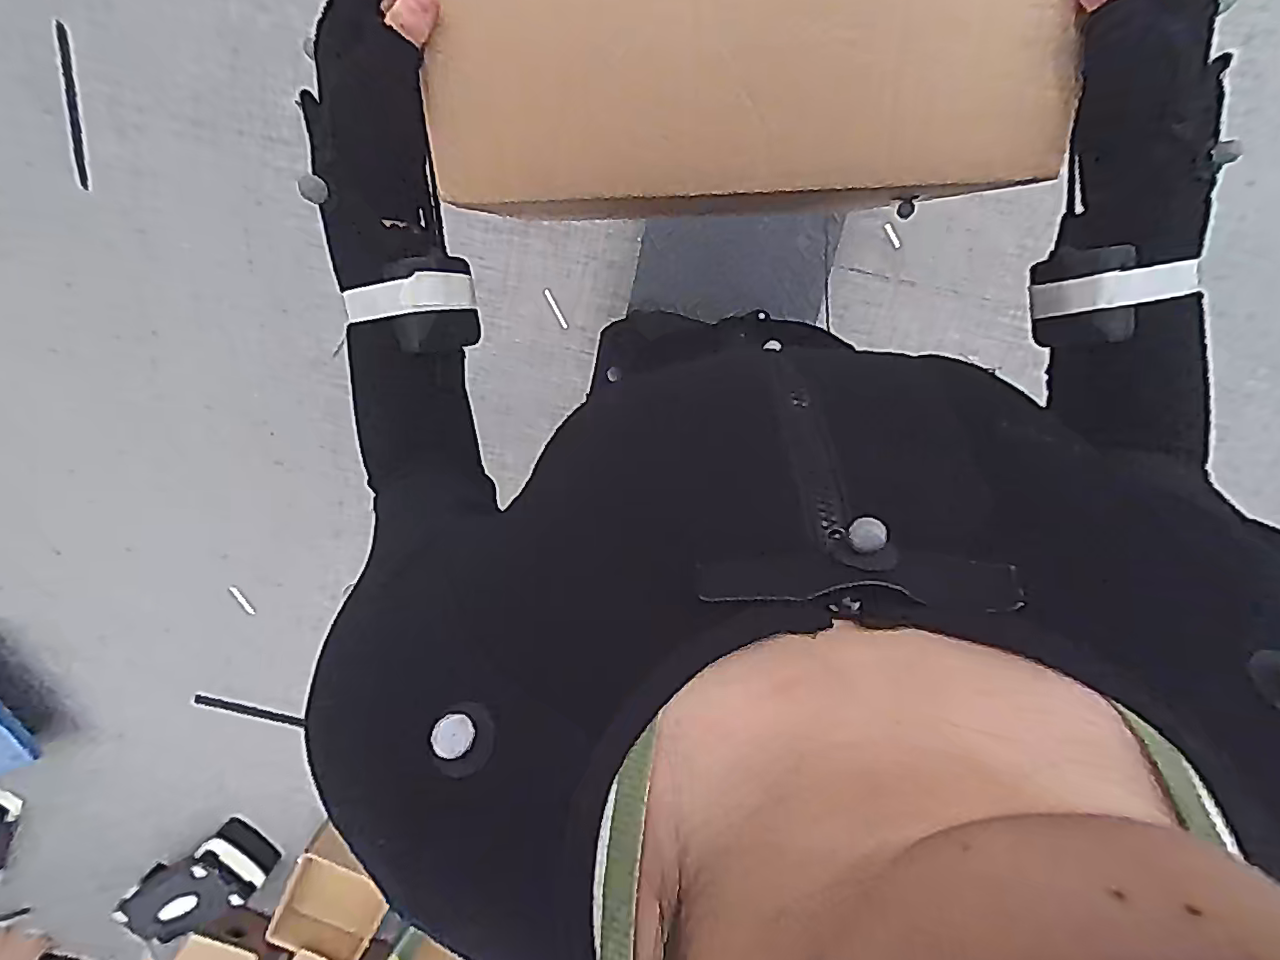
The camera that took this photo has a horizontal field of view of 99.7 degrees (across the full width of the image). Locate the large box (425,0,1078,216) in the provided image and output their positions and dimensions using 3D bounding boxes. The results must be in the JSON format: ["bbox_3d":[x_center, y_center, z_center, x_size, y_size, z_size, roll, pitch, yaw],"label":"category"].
[{"bbox_3d":[0.067,-0.397,0.441,0.408,0.320,0.320,-2,113,0],"label":"large box"}]
